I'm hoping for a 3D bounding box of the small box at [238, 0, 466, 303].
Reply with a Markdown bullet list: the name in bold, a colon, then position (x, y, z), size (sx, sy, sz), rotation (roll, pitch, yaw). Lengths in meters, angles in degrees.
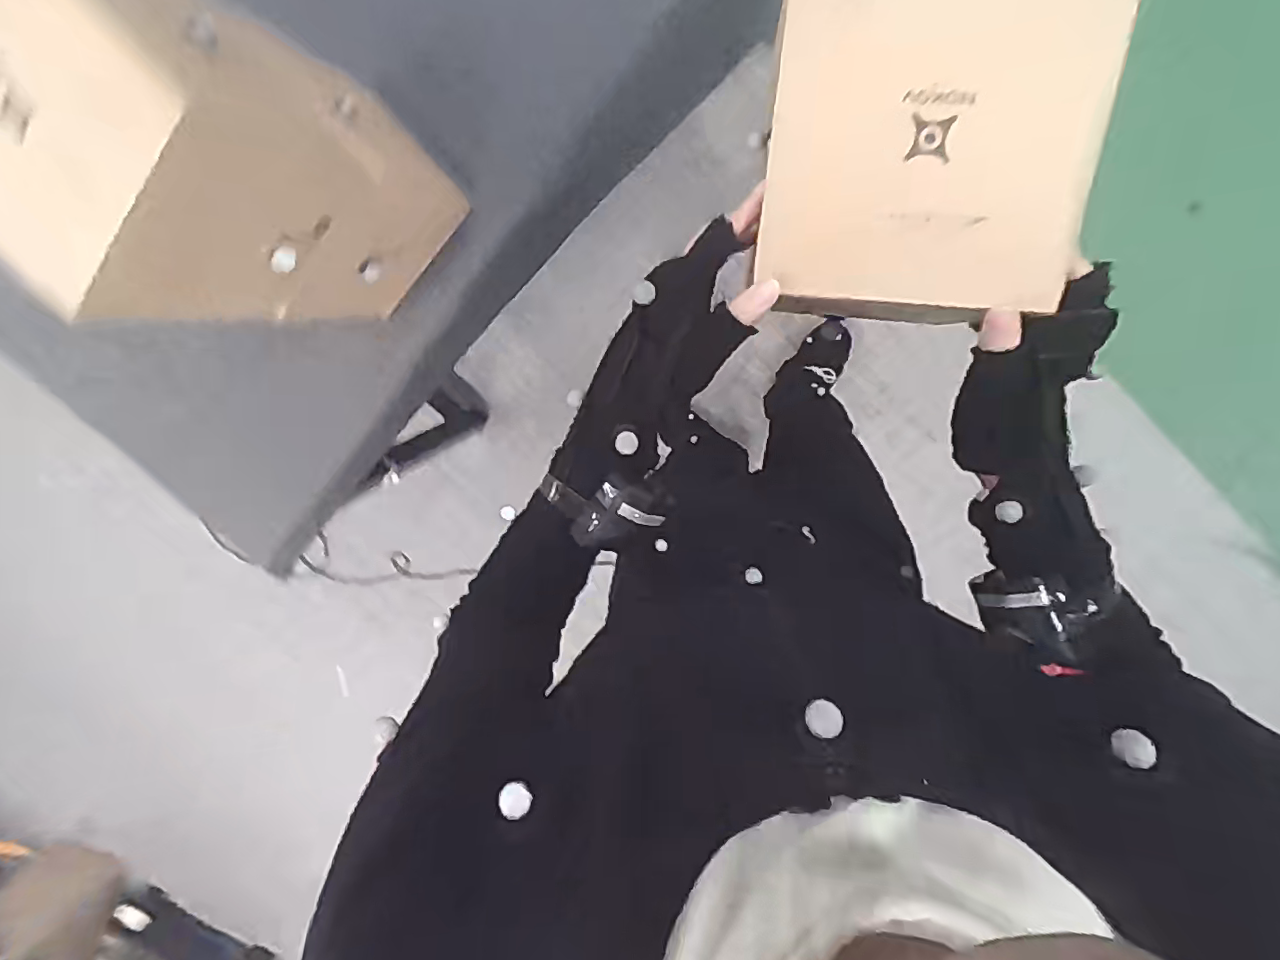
- **small box**: position (-0.309, -0.294, 0.533), size (0.179, 0.176, 0.168), rotation (-40, 97, 19)
